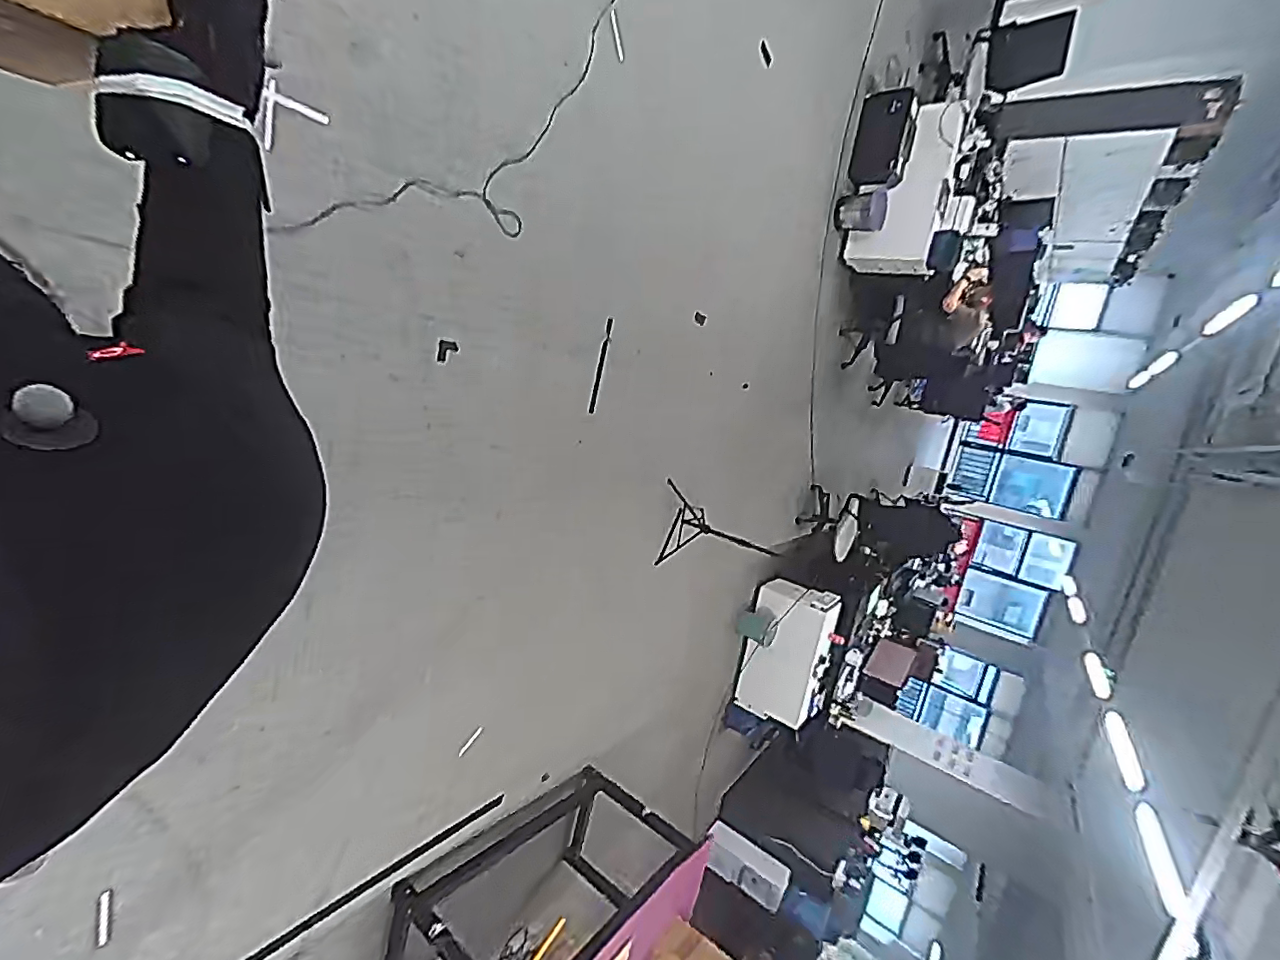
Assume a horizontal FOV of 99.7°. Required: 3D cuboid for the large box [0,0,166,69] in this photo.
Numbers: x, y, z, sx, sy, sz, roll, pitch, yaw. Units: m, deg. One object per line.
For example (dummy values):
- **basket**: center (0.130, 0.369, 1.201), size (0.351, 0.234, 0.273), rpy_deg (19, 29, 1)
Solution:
- **large box**: center (-0.523, -0.458, 0.237), size (0.408, 0.320, 0.320), rpy_deg (-11, 120, -56)
